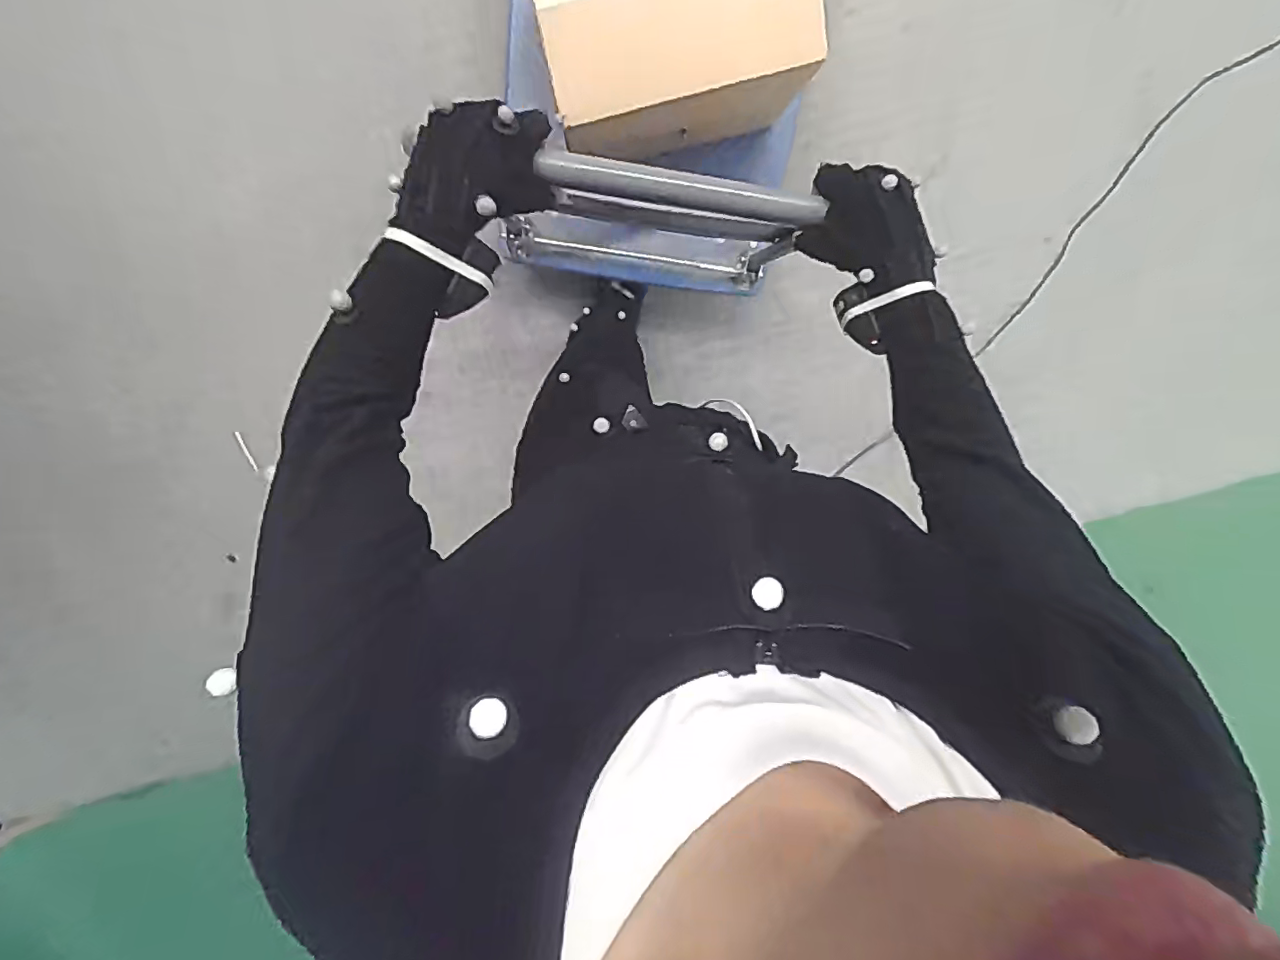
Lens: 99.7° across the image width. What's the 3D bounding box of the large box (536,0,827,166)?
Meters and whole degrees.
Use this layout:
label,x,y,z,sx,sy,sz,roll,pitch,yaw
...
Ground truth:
label,x,y,z,sx,sy,sz,roll,pitch,yaw
large box,0.046,-0.769,0.896,0.408,0.320,0.320,-13,107,3
